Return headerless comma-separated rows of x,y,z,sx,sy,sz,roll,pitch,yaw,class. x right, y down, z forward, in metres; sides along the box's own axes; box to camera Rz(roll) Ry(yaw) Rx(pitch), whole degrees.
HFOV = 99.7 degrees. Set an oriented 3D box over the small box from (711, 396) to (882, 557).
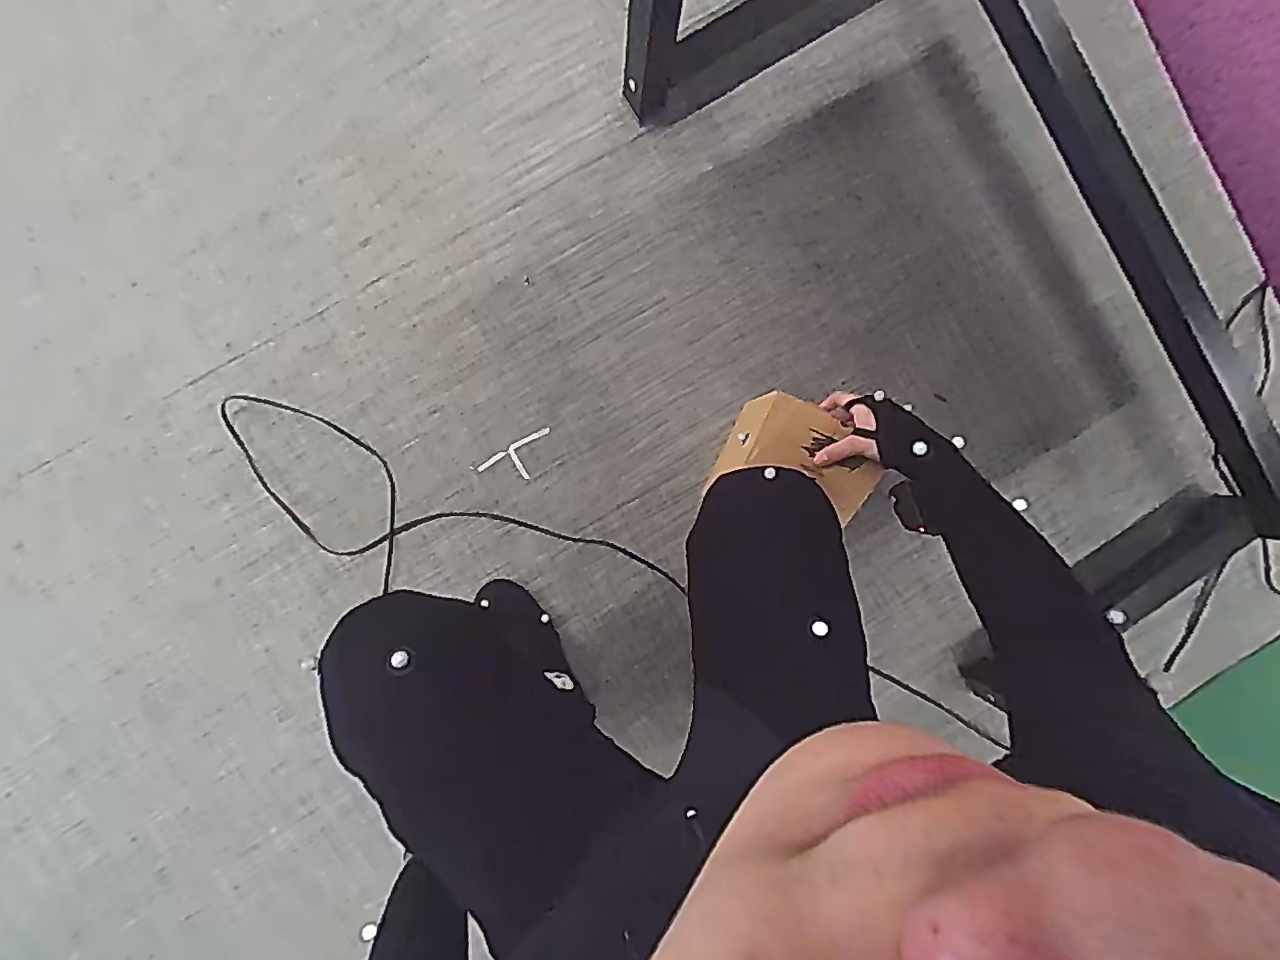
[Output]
0.223,-0.007,0.824,0.168,0.176,0.179,26,90,-3,small box
